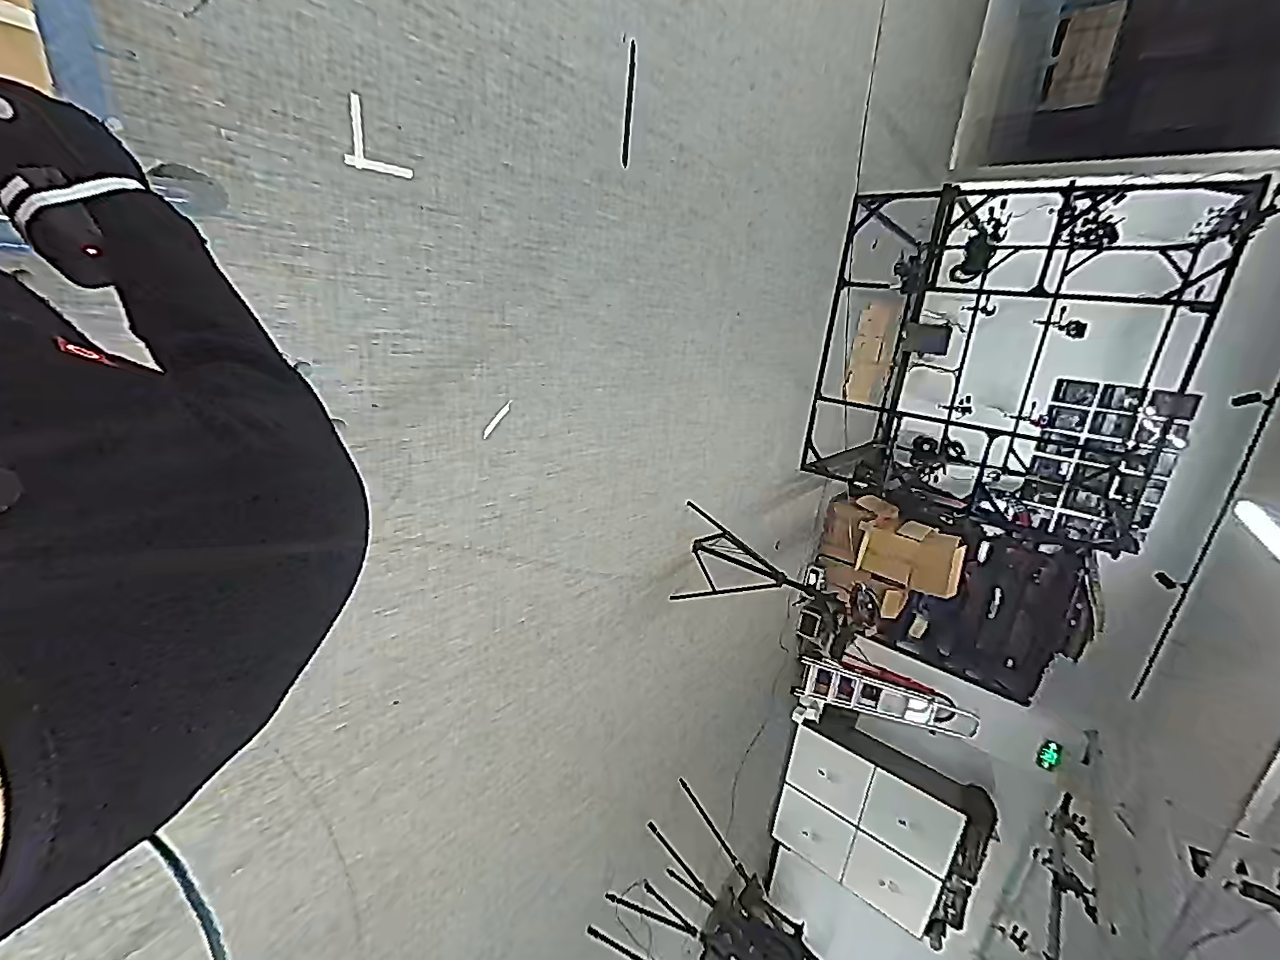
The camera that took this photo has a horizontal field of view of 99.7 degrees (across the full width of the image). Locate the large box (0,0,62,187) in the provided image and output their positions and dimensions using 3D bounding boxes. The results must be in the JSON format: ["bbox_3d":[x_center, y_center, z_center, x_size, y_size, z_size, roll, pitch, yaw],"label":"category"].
[{"bbox_3d":[-0.942,-0.513,0.551,0.408,0.320,0.320,-19,120,-50],"label":"large box"}]
